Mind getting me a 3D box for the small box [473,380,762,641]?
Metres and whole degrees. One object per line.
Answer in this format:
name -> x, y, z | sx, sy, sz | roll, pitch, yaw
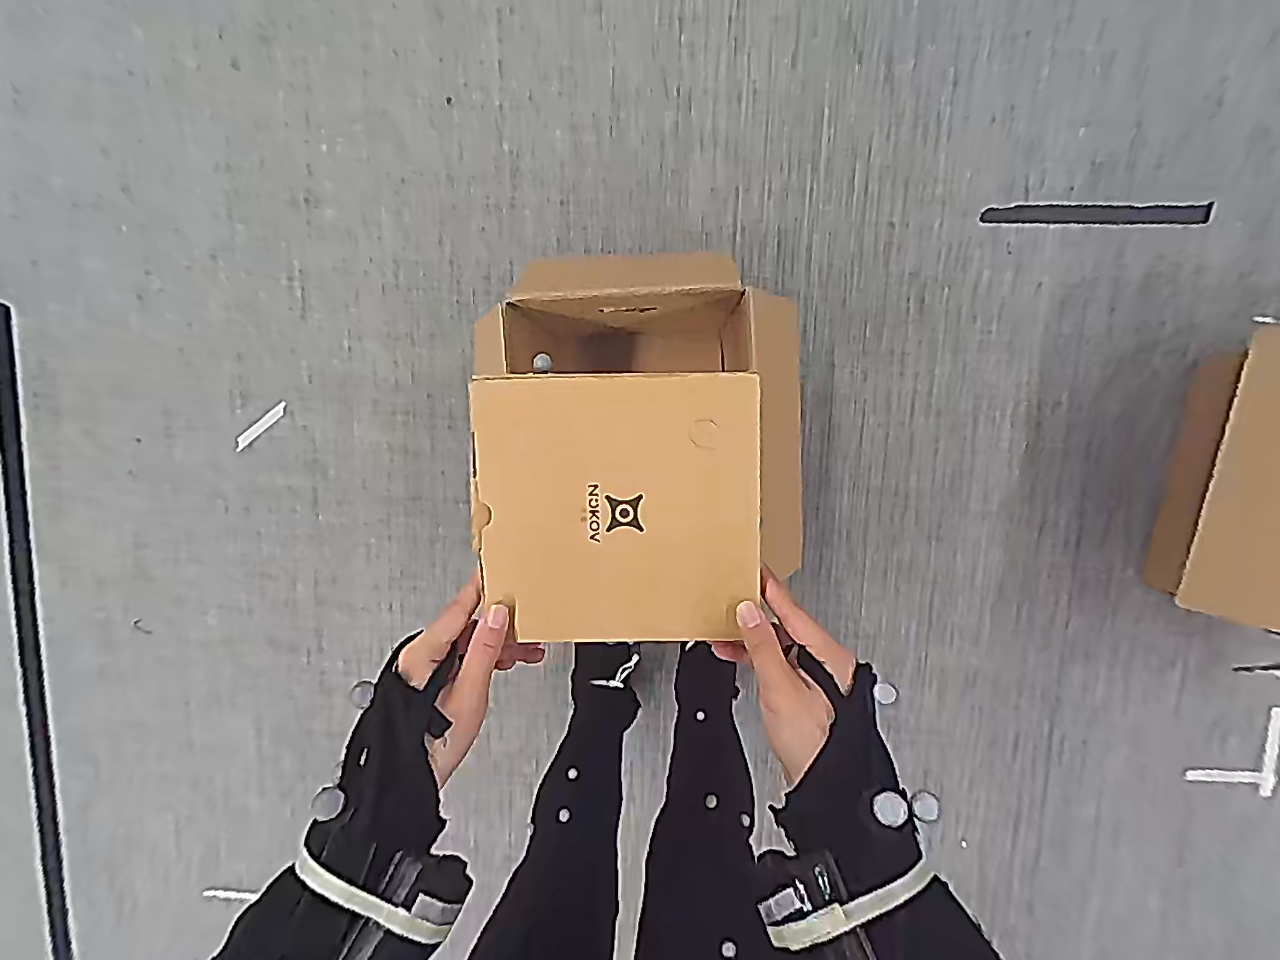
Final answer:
small box -> -0.011, 0.010, 0.411 | 0.179, 0.176, 0.168 | -1, 97, 2
